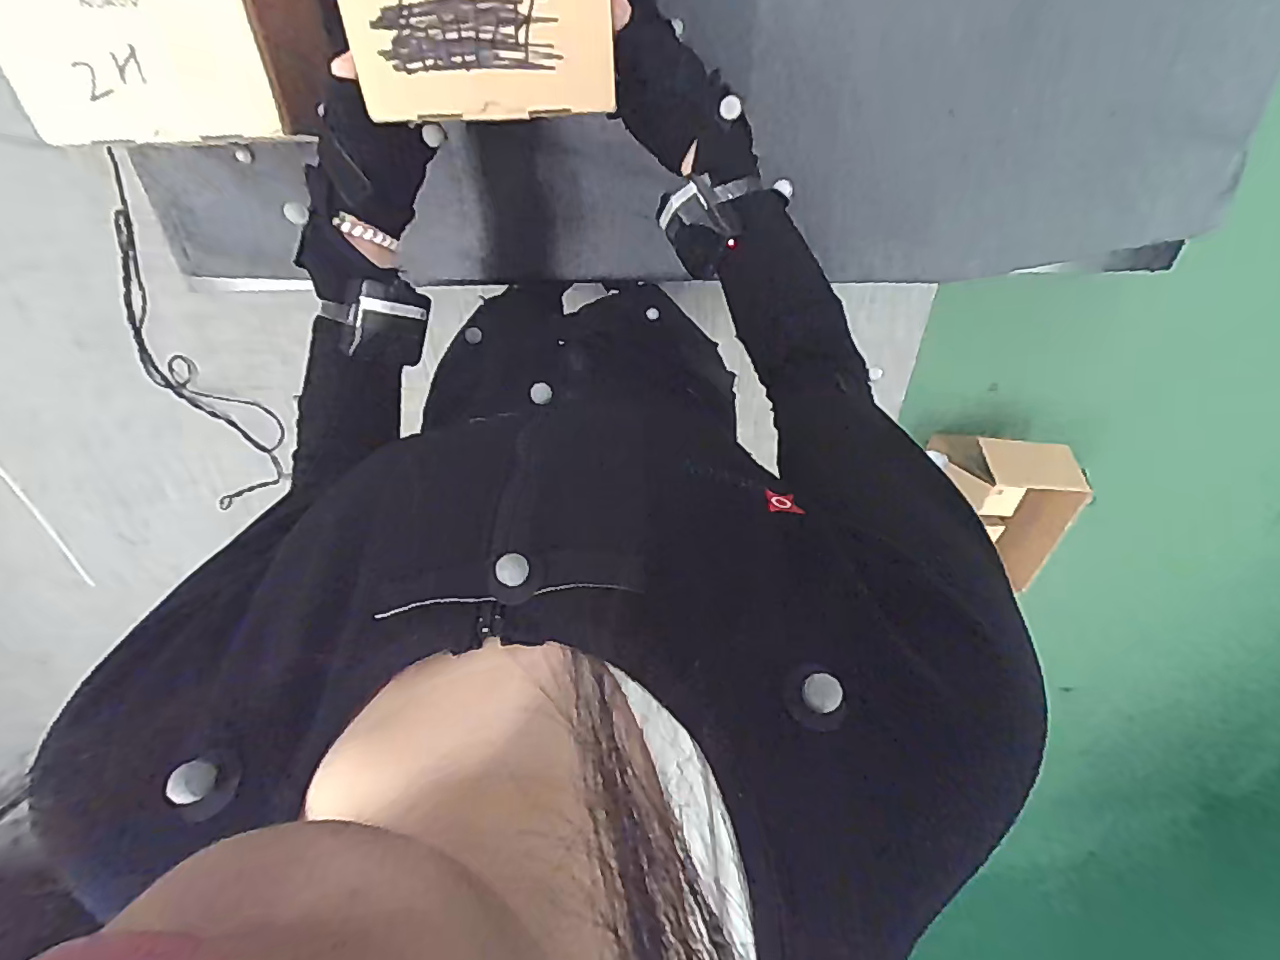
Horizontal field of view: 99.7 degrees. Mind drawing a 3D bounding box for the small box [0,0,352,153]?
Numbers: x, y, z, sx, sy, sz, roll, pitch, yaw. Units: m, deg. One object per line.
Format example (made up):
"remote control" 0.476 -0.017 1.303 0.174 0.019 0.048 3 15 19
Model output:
"small box" -0.351 -0.355 0.414 0.168 0.176 0.179 -6 122 -6
